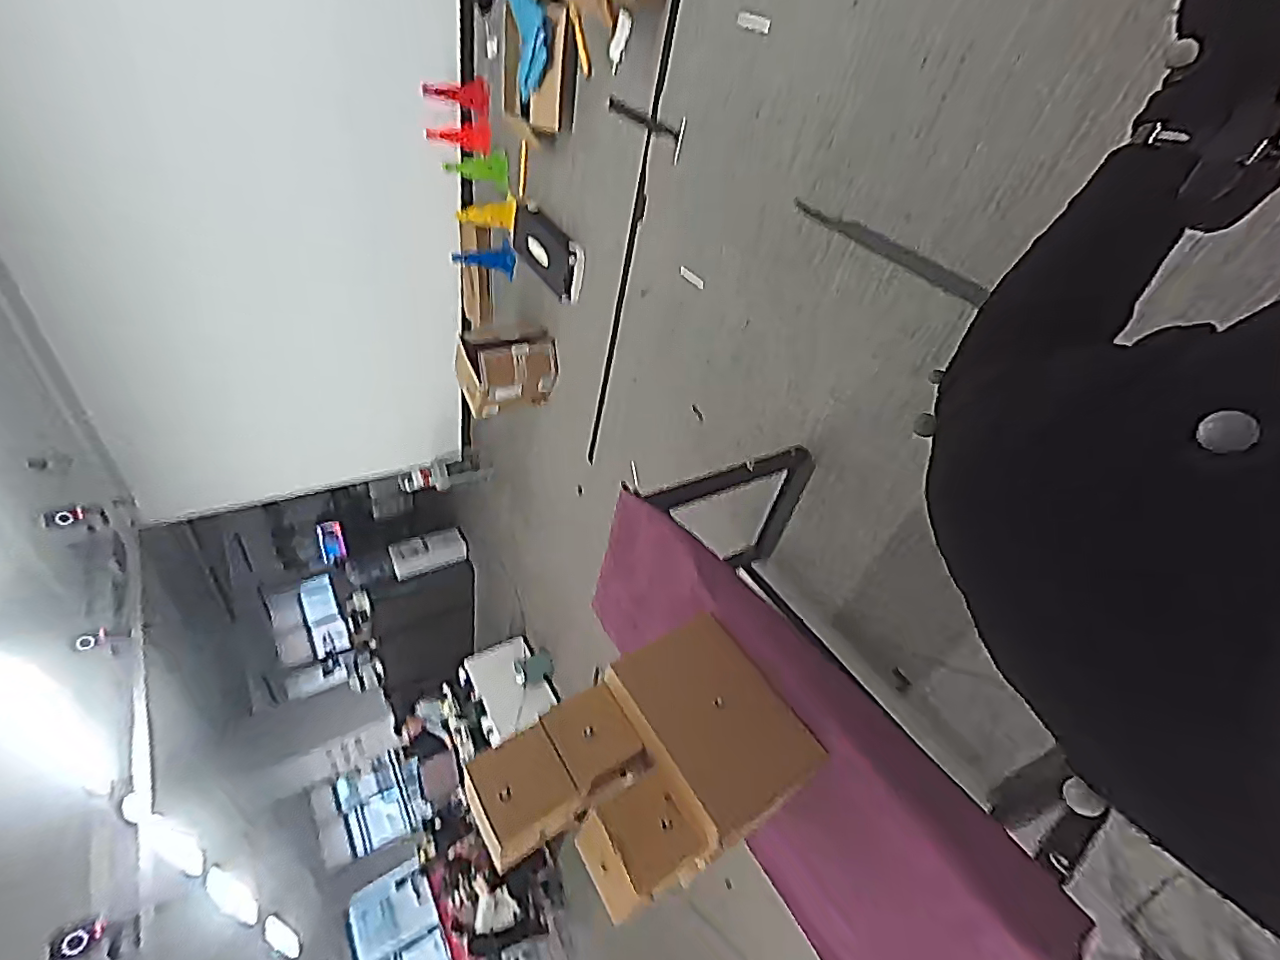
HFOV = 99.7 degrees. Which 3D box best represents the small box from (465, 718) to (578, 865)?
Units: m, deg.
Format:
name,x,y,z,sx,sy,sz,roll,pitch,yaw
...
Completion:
name,x,y,z,sx,sy,sz,roll,pitch,yaw
small box,-0.242,0.629,1.105,0.179,0.176,0.168,48,141,33
